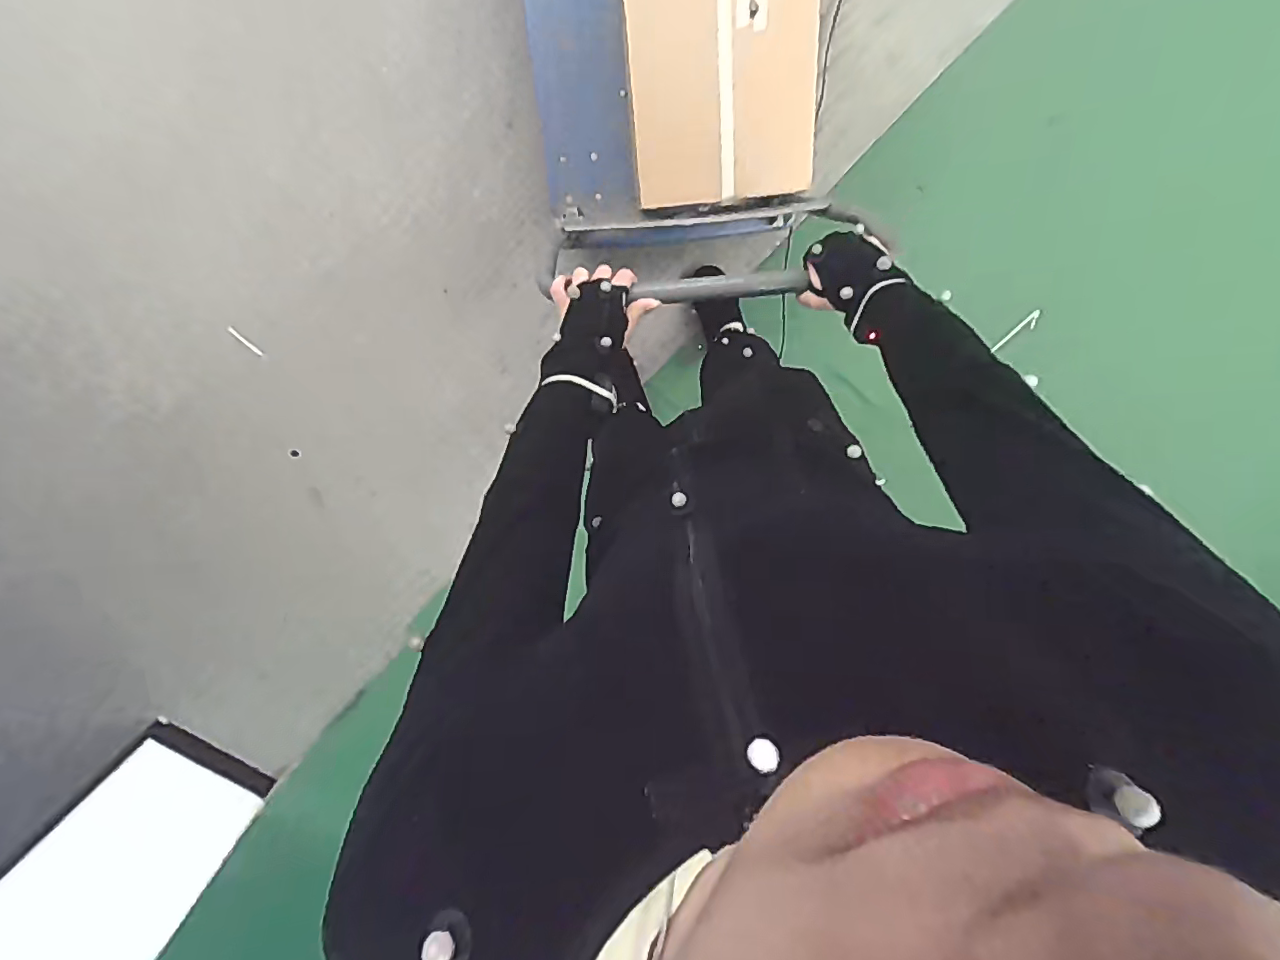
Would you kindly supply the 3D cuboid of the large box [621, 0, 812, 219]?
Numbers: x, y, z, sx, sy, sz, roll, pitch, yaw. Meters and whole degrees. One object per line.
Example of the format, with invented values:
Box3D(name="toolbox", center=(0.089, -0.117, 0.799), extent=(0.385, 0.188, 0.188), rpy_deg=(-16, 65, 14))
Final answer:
Box3D(name="large box", center=(0.135, -0.749, 1.055), extent=(0.320, 0.320, 0.408), rpy_deg=(-5, 116, 1))
